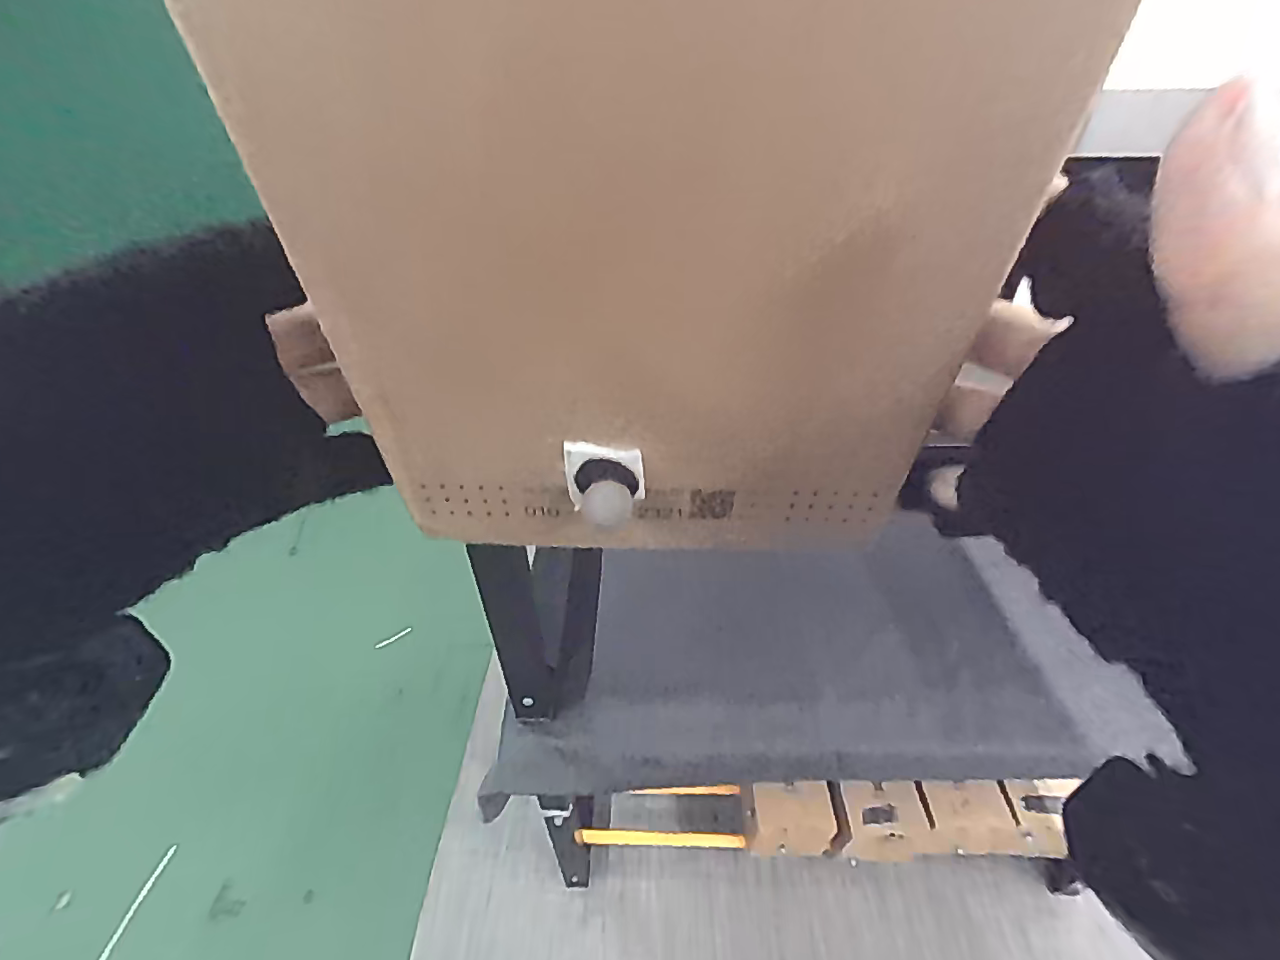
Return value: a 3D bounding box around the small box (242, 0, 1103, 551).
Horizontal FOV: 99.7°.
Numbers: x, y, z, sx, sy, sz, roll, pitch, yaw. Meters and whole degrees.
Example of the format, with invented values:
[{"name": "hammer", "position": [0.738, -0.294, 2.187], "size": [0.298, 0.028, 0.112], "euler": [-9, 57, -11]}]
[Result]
[{"name": "small box", "position": [0.005, -0.093, 0.213], "size": [0.168, 0.176, 0.179], "euler": [0, 46, 1]}]
